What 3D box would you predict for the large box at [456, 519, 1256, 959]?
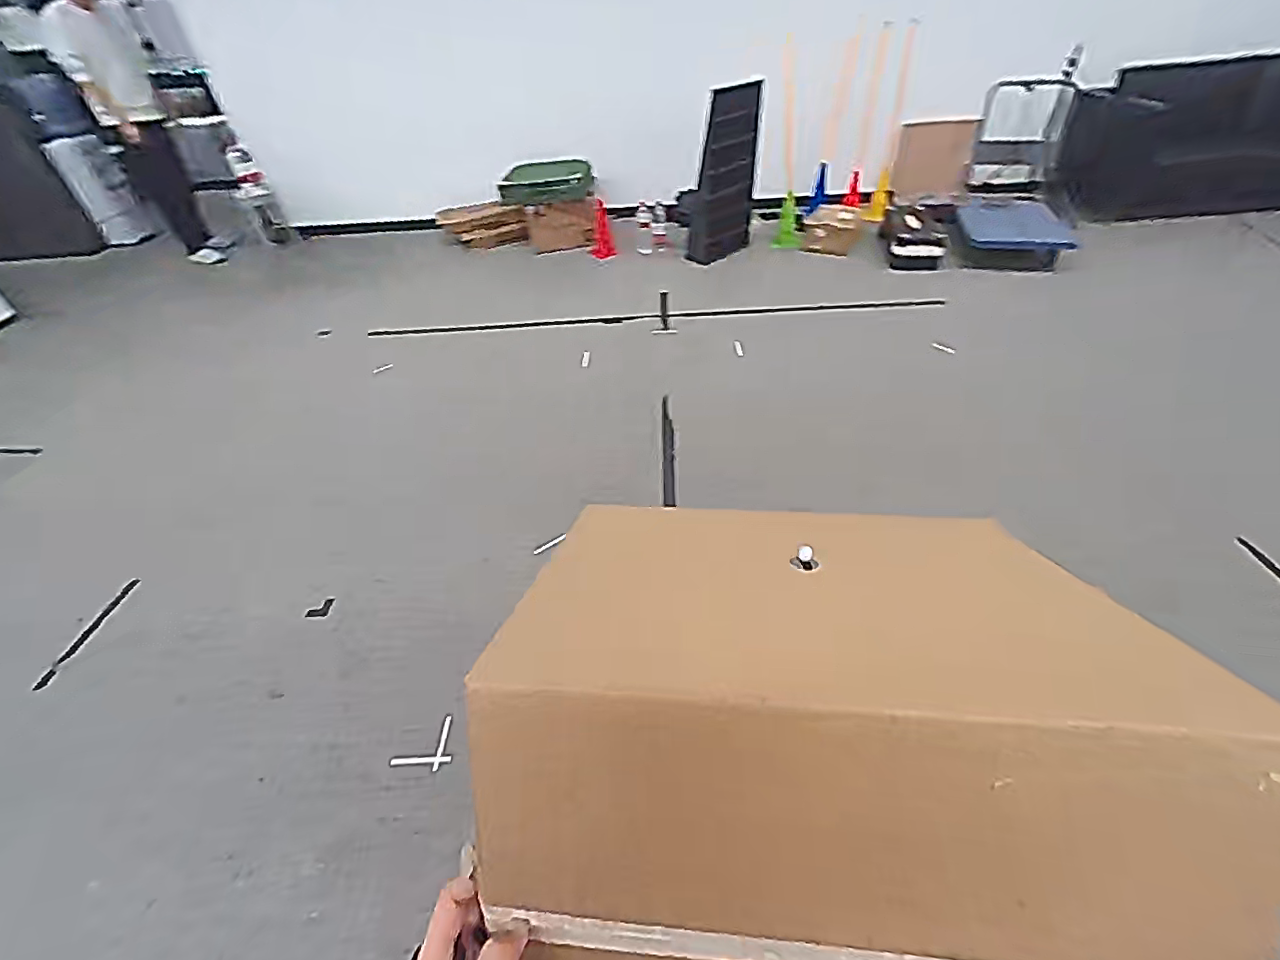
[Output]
[{"bbox_3d":[0.112,0.223,0.454,0.408,0.320,0.320,0,16,5],"label":"large box"}]
